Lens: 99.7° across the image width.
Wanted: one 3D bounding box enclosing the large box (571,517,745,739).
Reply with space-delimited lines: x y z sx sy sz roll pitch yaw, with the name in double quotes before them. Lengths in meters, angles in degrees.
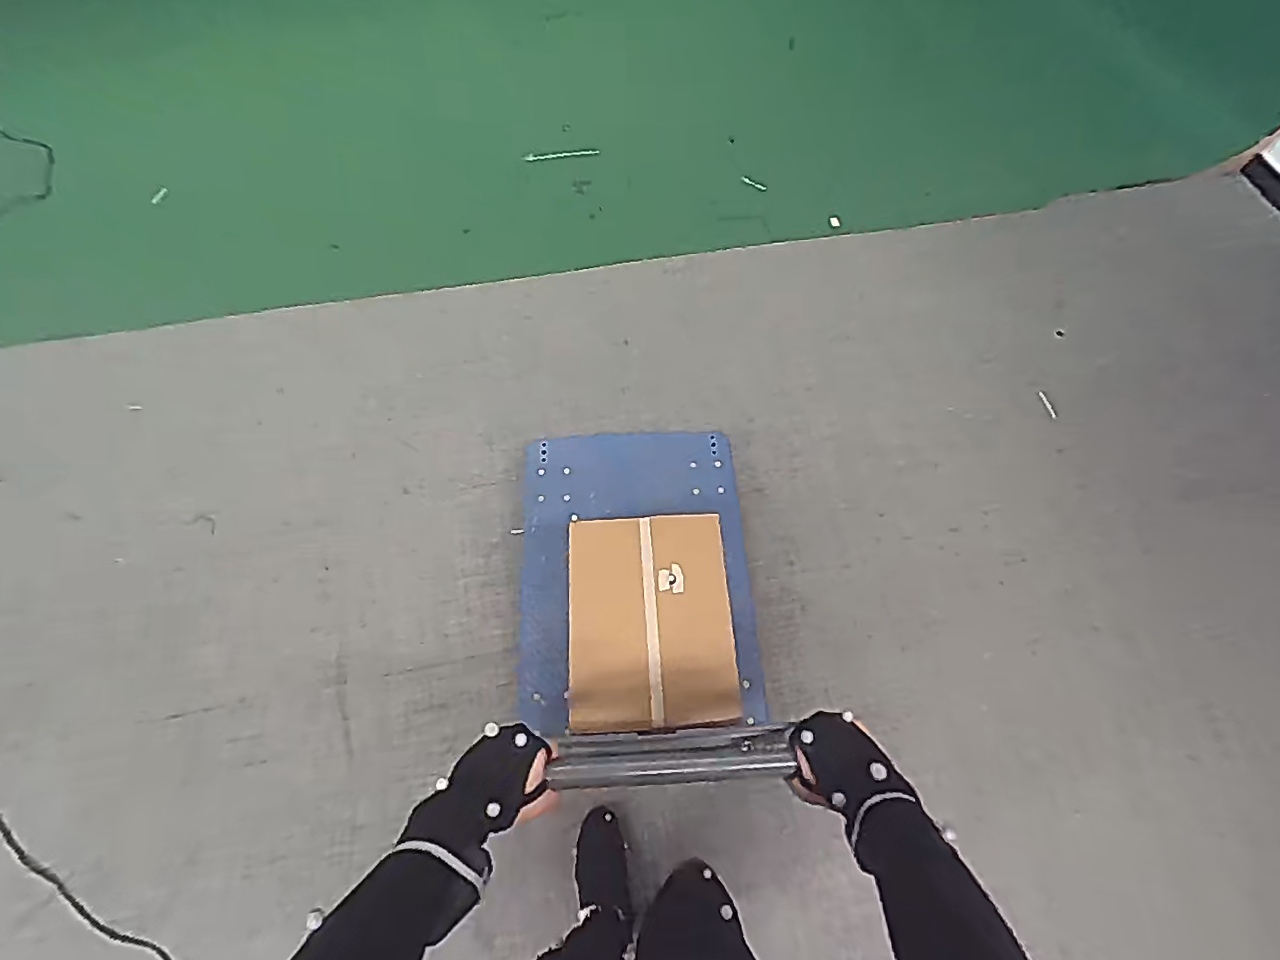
"large box" 0.023 0.330 1.178 0.320 0.320 0.408 -2 64 -3
